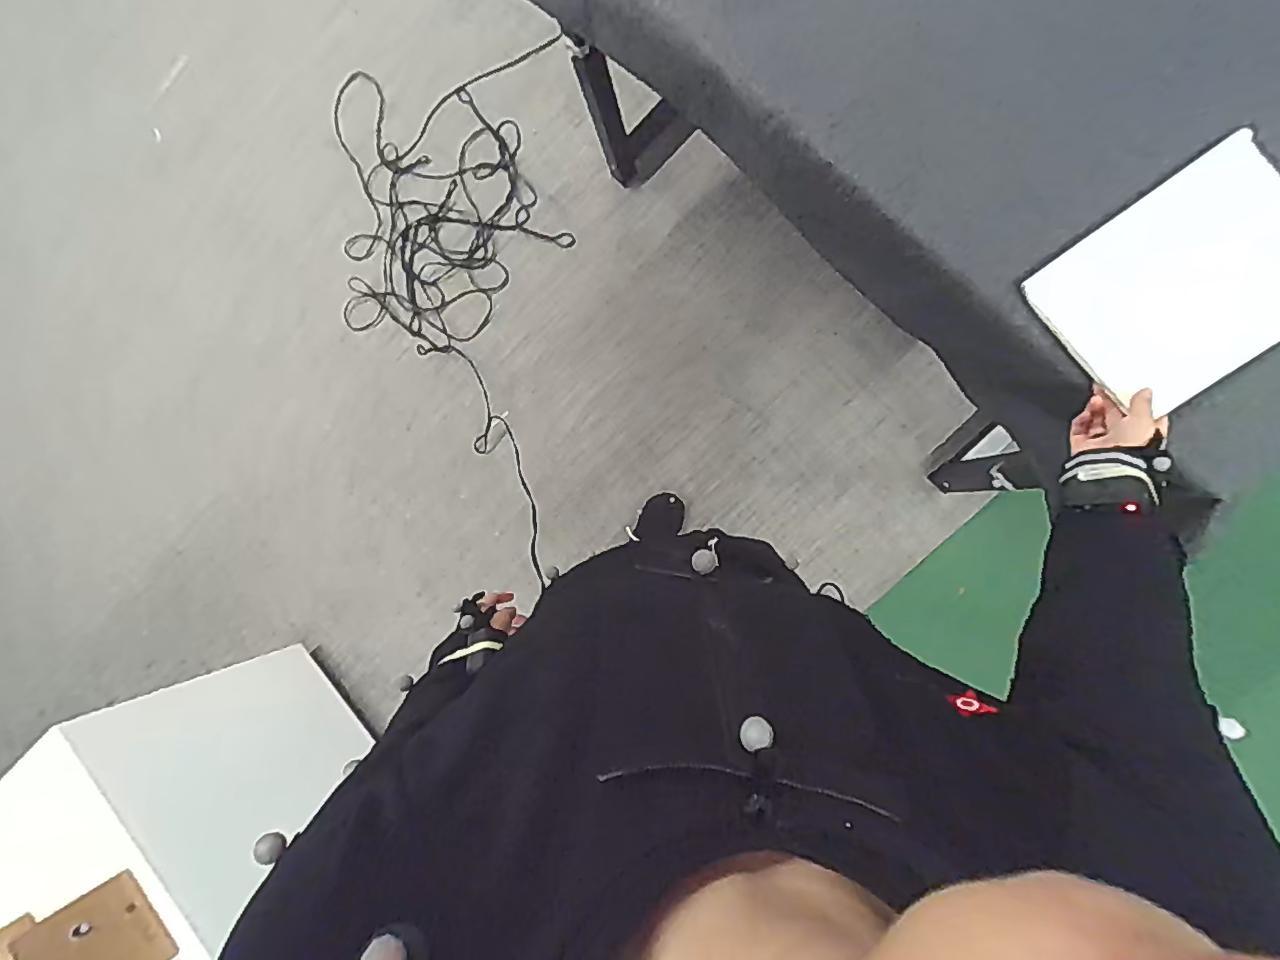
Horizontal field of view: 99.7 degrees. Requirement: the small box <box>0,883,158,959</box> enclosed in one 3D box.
[{"bbox_3d":[-0.876,0.763,0.805,0.179,0.176,0.168,-42,81,6],"label":"small box"}]
